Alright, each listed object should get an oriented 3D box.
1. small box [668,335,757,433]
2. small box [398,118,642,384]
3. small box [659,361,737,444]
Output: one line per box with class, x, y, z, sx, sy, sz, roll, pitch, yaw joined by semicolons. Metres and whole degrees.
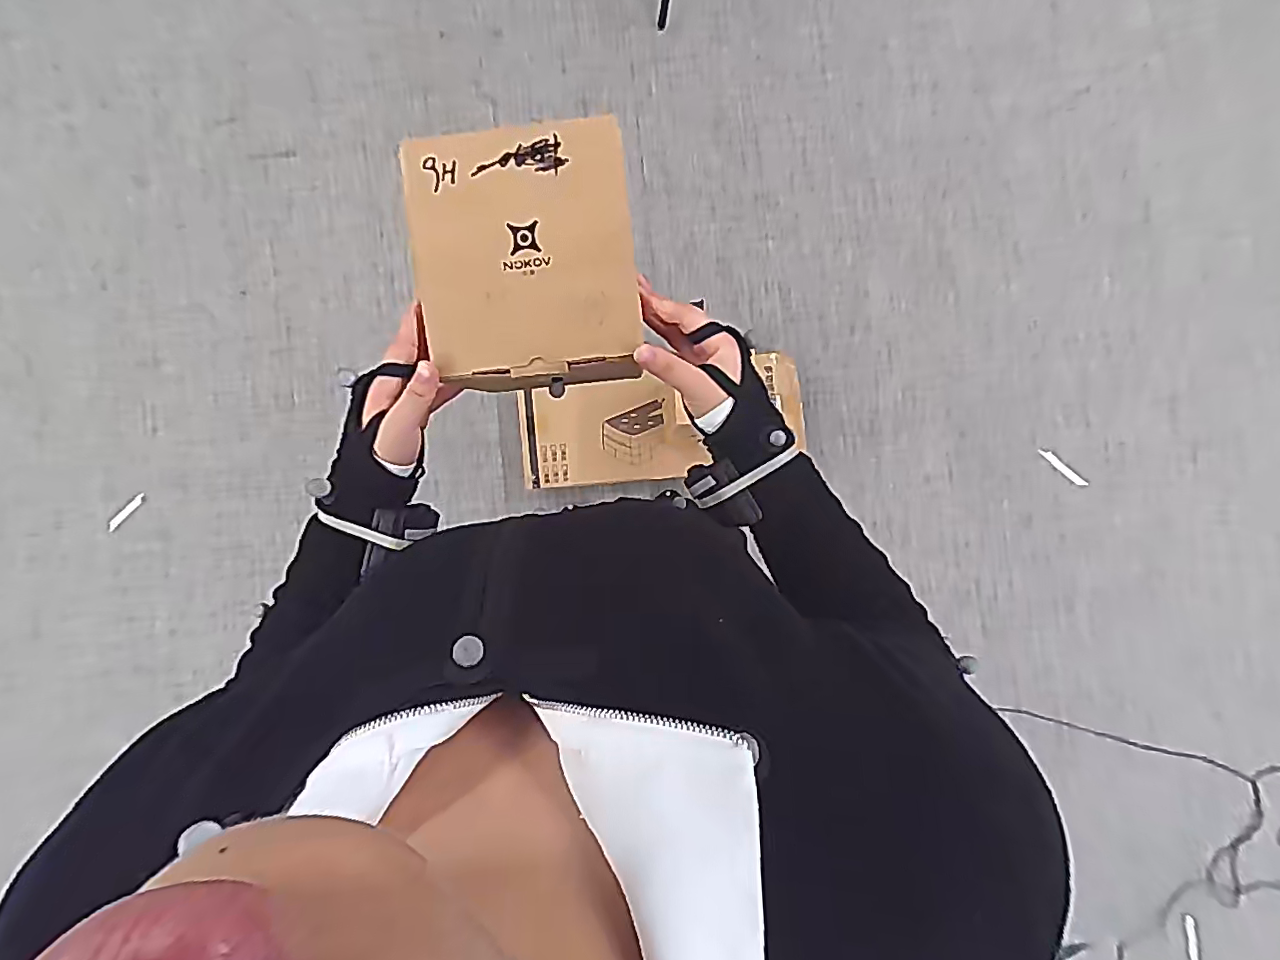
small box;0.148;-0.199;1.160;0.168;0.176;0.179;-3;88;0
small box;-0.087;-0.180;0.483;0.168;0.176;0.179;-6;97;1
small box;0.138;-0.191;1.324;0.168;0.176;0.179;-6;88;0
